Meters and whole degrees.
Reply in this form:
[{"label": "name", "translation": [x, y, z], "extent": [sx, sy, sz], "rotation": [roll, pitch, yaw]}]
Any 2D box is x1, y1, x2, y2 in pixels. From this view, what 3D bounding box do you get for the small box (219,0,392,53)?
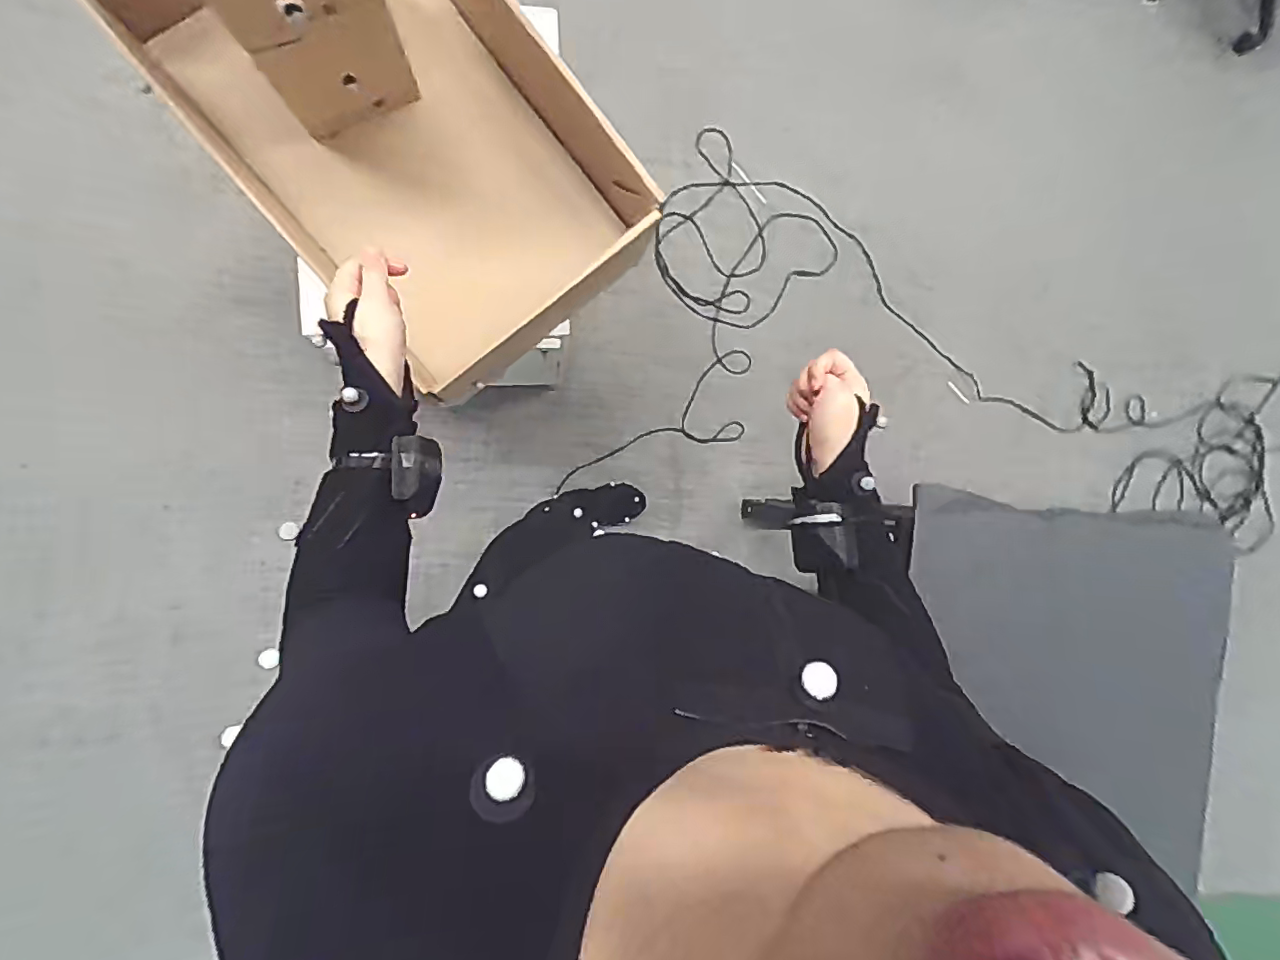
[{"label": "small box", "translation": [-0.373, -0.576, 0.521], "extent": [0.168, 0.176, 0.179], "rotation": [-24, 97, -5]}]
